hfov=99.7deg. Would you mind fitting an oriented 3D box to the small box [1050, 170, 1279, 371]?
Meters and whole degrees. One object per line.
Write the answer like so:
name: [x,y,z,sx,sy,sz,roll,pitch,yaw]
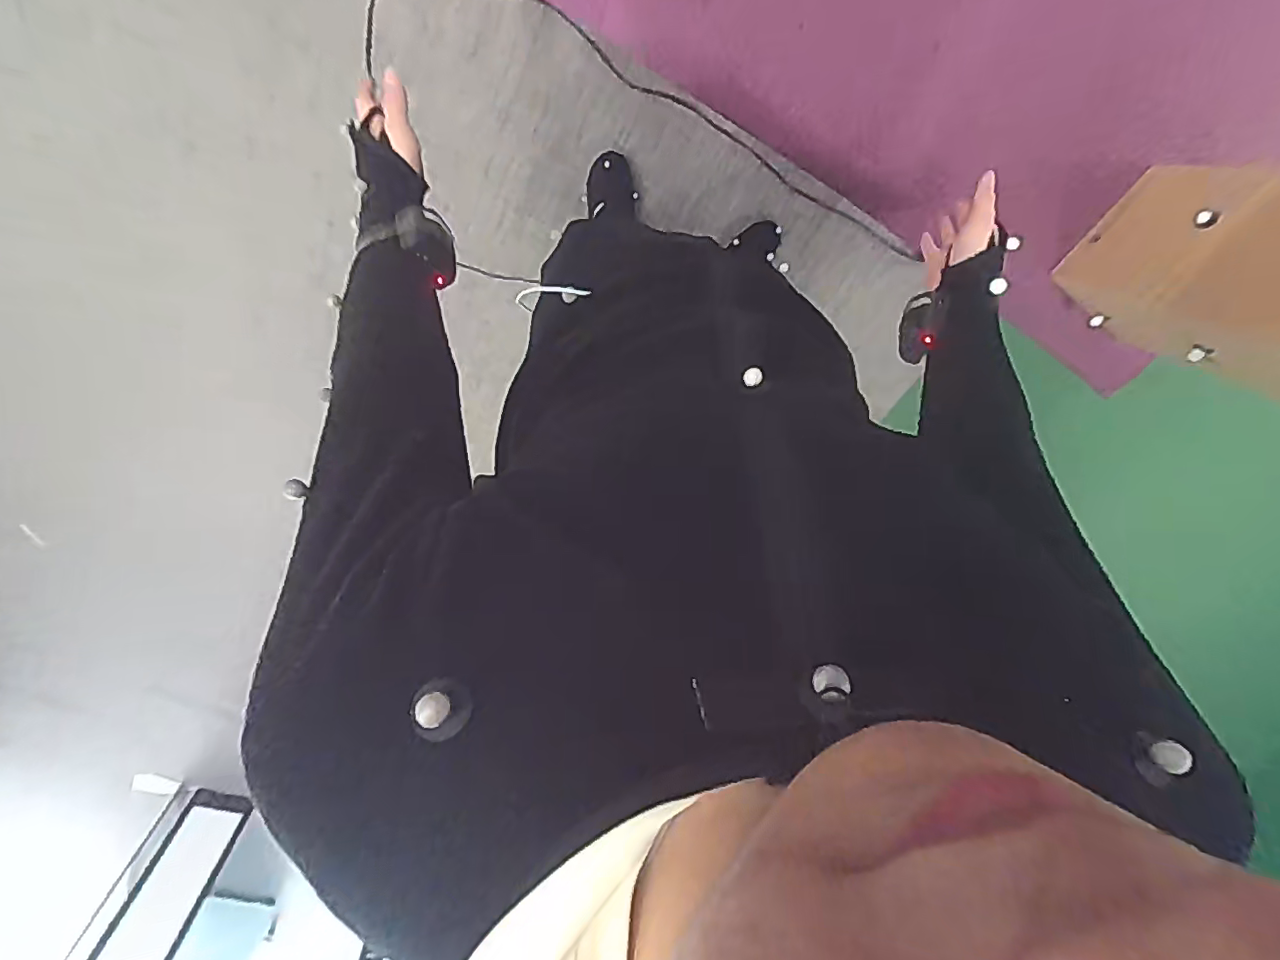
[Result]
small box: [0.696,-0.275,0.696,0.179,0.176,0.168,28,116,-18]
